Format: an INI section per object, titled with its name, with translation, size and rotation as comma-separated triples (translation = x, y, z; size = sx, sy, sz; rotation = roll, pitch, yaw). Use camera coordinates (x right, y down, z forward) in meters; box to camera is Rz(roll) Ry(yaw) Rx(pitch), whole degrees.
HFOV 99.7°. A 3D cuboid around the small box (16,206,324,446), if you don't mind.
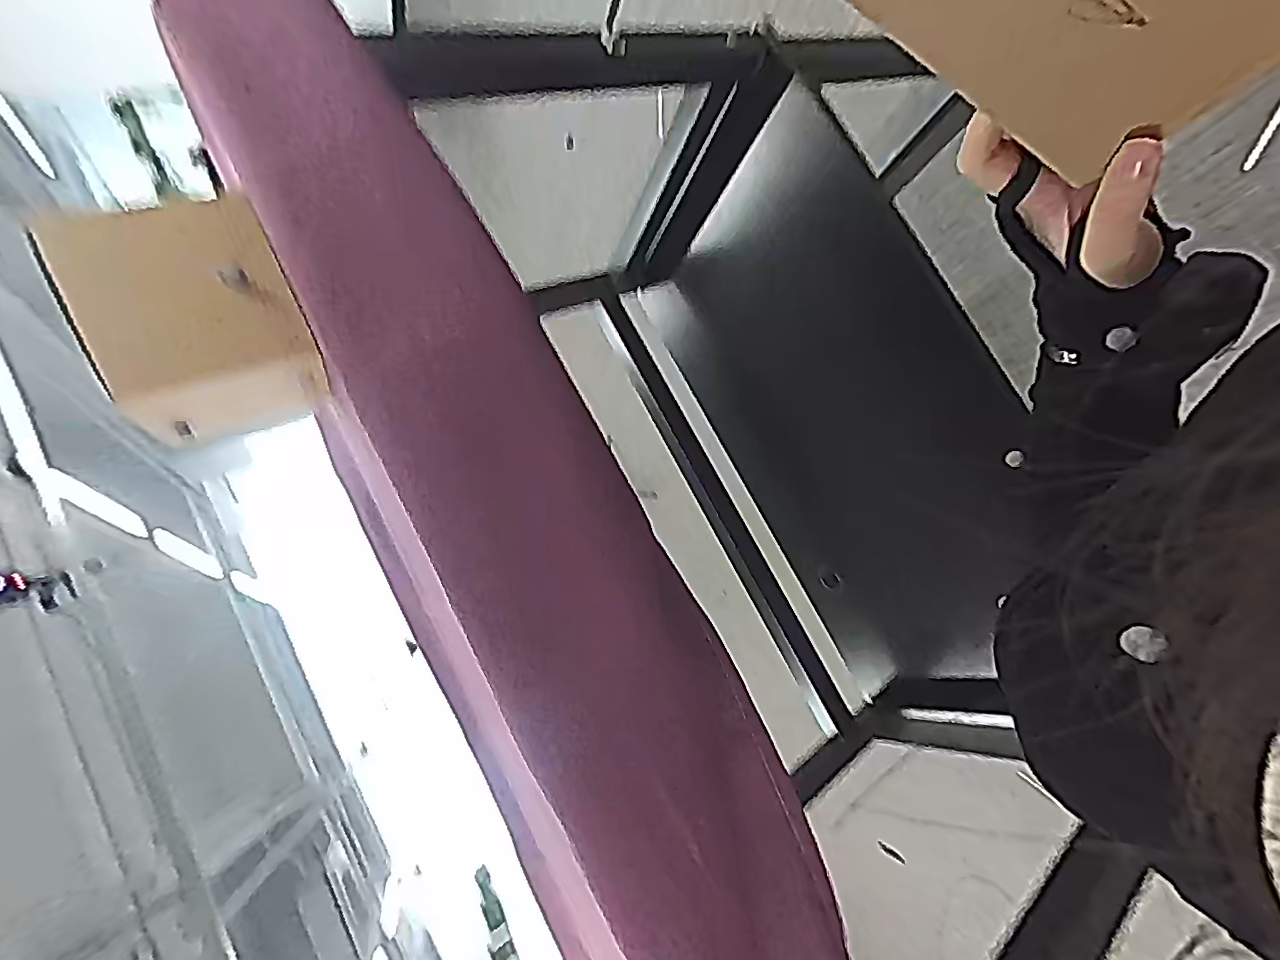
[small box]
translation = -0.452, -0.157, 0.557
size = 0.168, 0.176, 0.179
rotation = -21, 94, 63
